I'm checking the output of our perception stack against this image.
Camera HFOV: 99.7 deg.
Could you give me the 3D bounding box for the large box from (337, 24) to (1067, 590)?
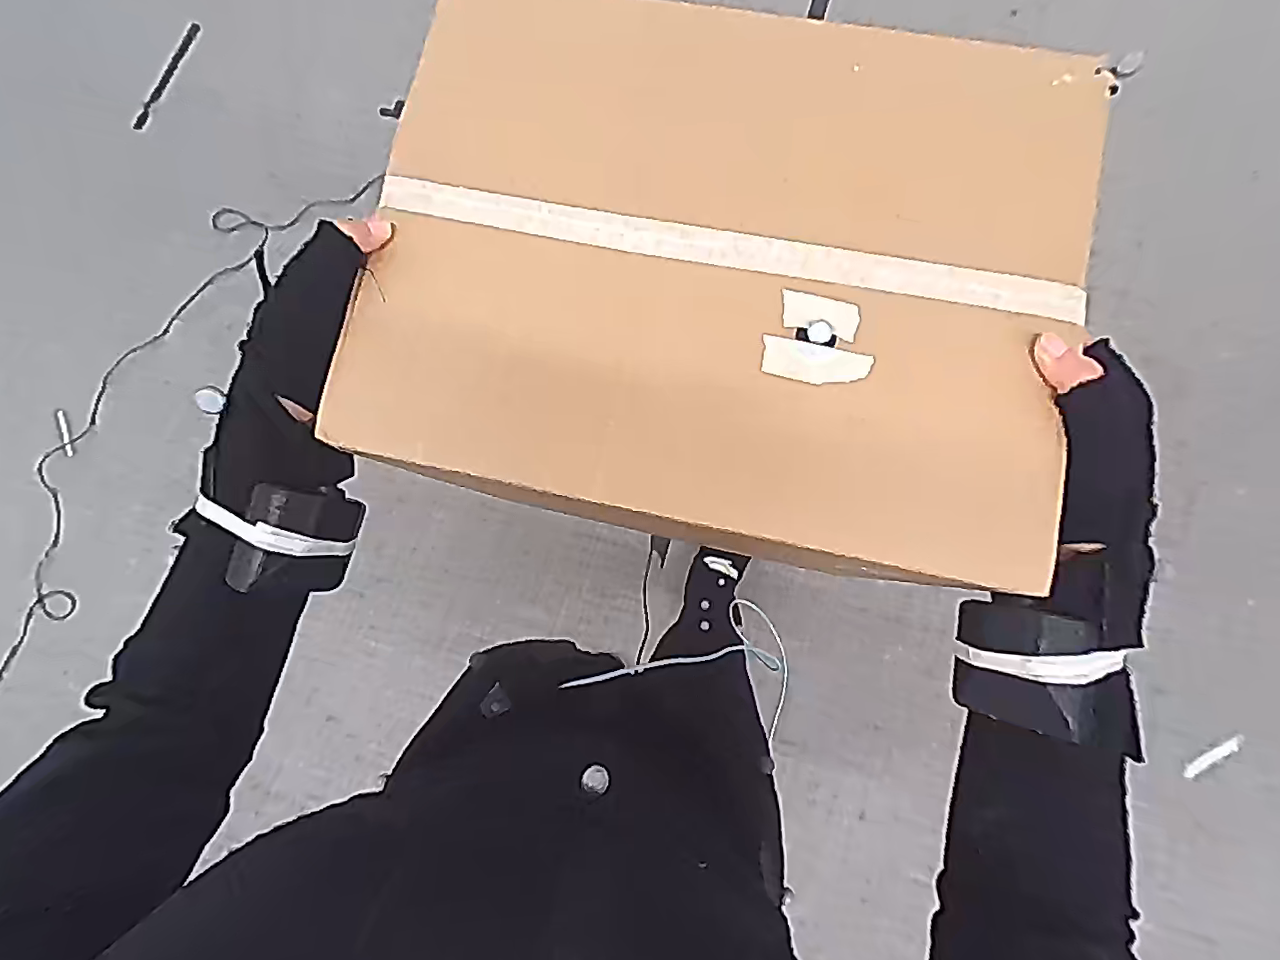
[{"bbox_3d":[0.046,-0.102,0.474,0.408,0.320,0.320,12,84,4],"label":"large box"}]
